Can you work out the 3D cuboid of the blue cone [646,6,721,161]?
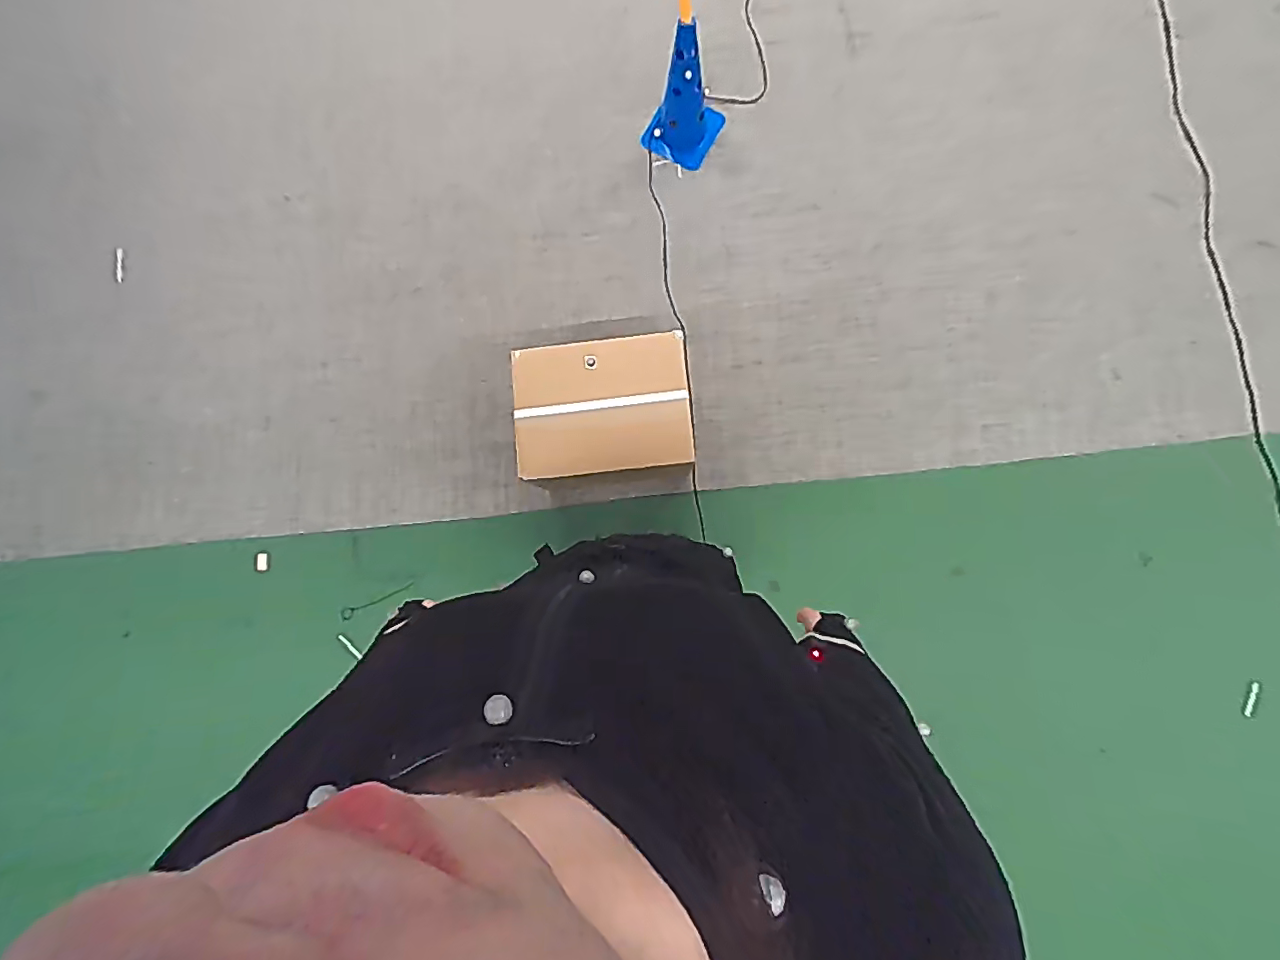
[{"bbox_3d":[0.119,-1.057,1.429,0.192,0.380,0.193,27,88,5],"label":"blue cone"}]
